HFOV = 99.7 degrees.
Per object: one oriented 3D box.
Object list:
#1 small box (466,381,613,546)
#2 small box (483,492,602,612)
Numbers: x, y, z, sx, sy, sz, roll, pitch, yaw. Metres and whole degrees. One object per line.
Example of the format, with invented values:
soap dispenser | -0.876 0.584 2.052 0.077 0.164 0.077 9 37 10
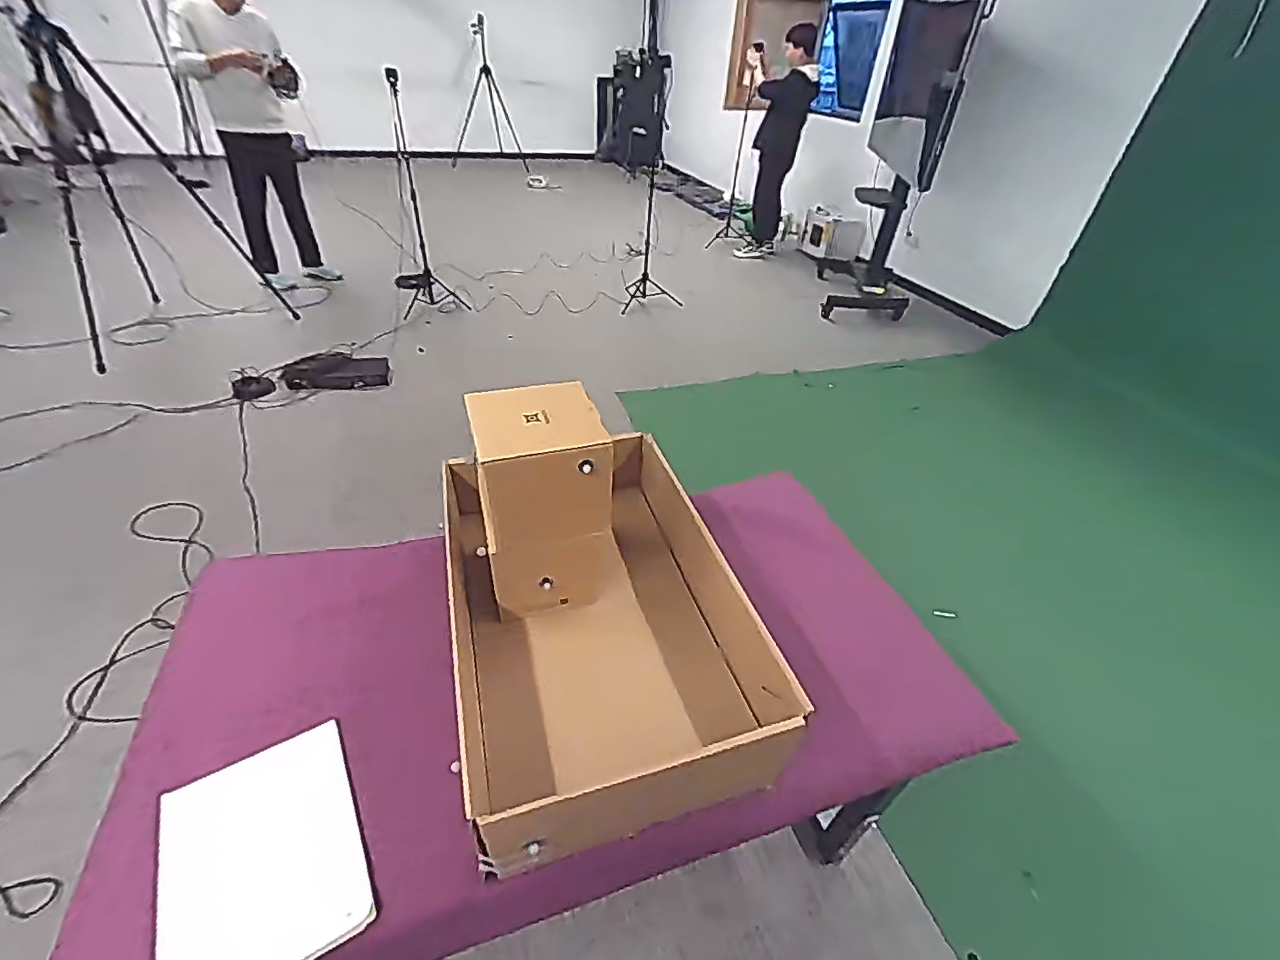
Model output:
small box | -0.145 -0.024 0.794 0.179 0.176 0.168 -11 42 -18
small box | -0.161 0.100 0.898 0.168 0.176 0.179 -9 42 -16
